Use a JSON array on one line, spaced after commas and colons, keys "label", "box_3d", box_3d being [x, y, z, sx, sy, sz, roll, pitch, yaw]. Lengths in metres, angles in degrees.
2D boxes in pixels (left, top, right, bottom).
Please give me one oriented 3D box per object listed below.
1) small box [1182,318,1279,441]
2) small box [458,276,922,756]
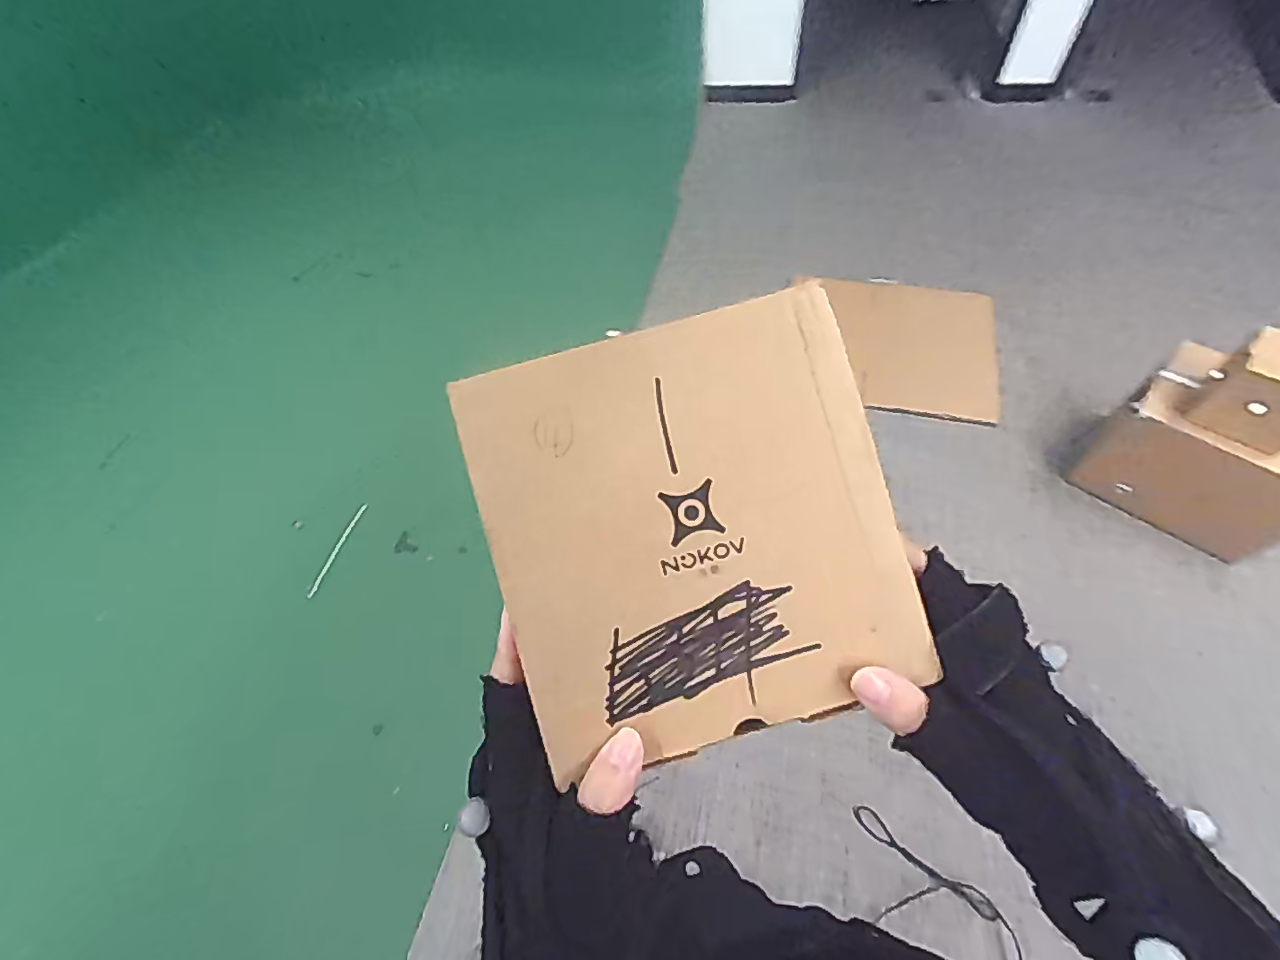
[{"label": "small box", "box_3d": [1.351, -0.214, 1.176, 0.179, 0.176, 0.168, 31, 65, 23]}, {"label": "small box", "box_3d": [0.021, 0.017, 0.312, 0.168, 0.176, 0.179, -16, 87, -1]}]
